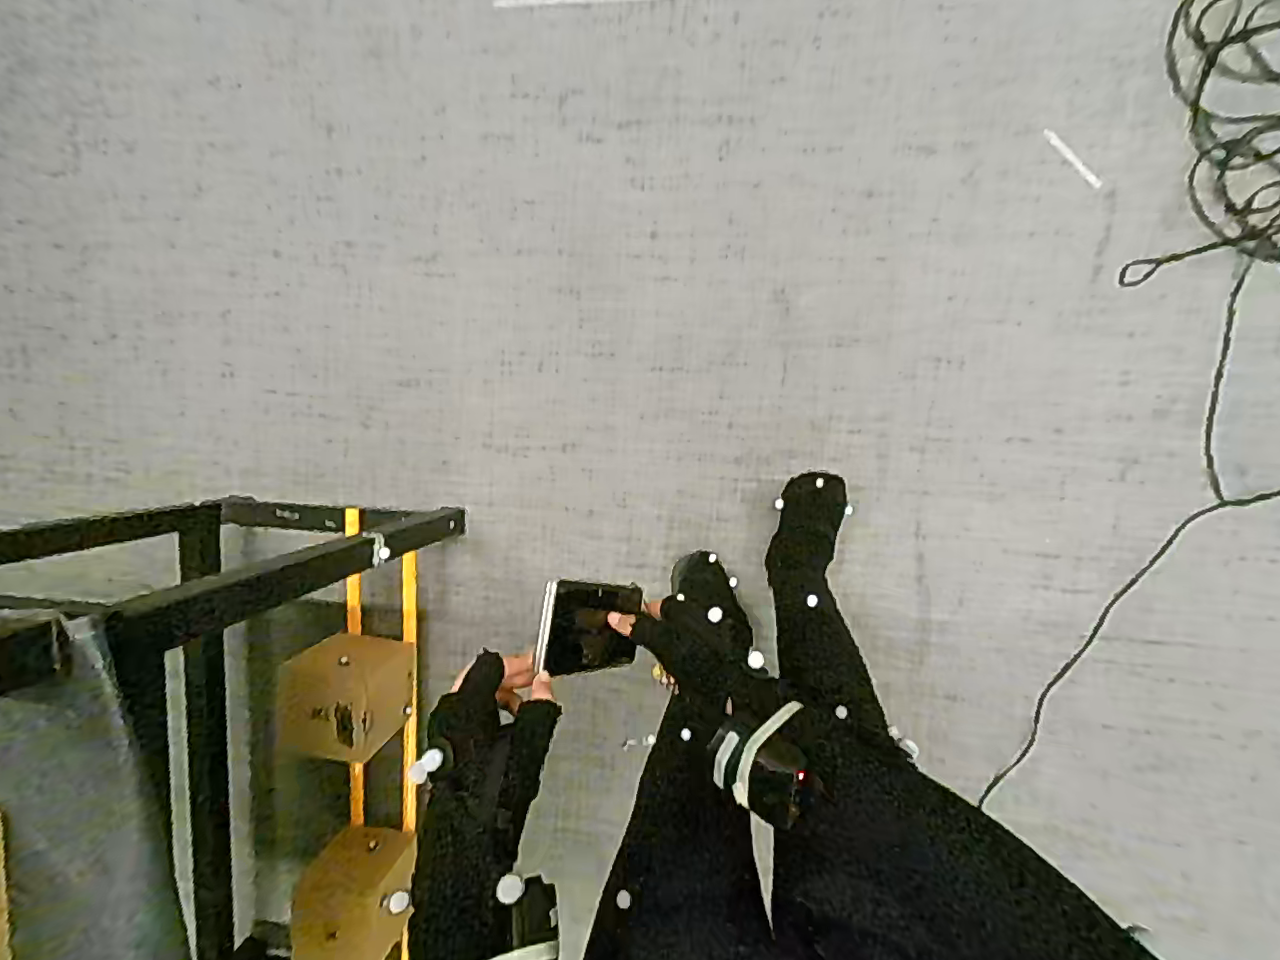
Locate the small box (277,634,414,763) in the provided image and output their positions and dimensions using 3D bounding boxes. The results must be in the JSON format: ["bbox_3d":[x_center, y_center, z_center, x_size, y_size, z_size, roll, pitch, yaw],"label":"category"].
[{"bbox_3d":[-0.564,0.415,1.054,0.179,0.176,0.168,6,96,7],"label":"small box"}]
